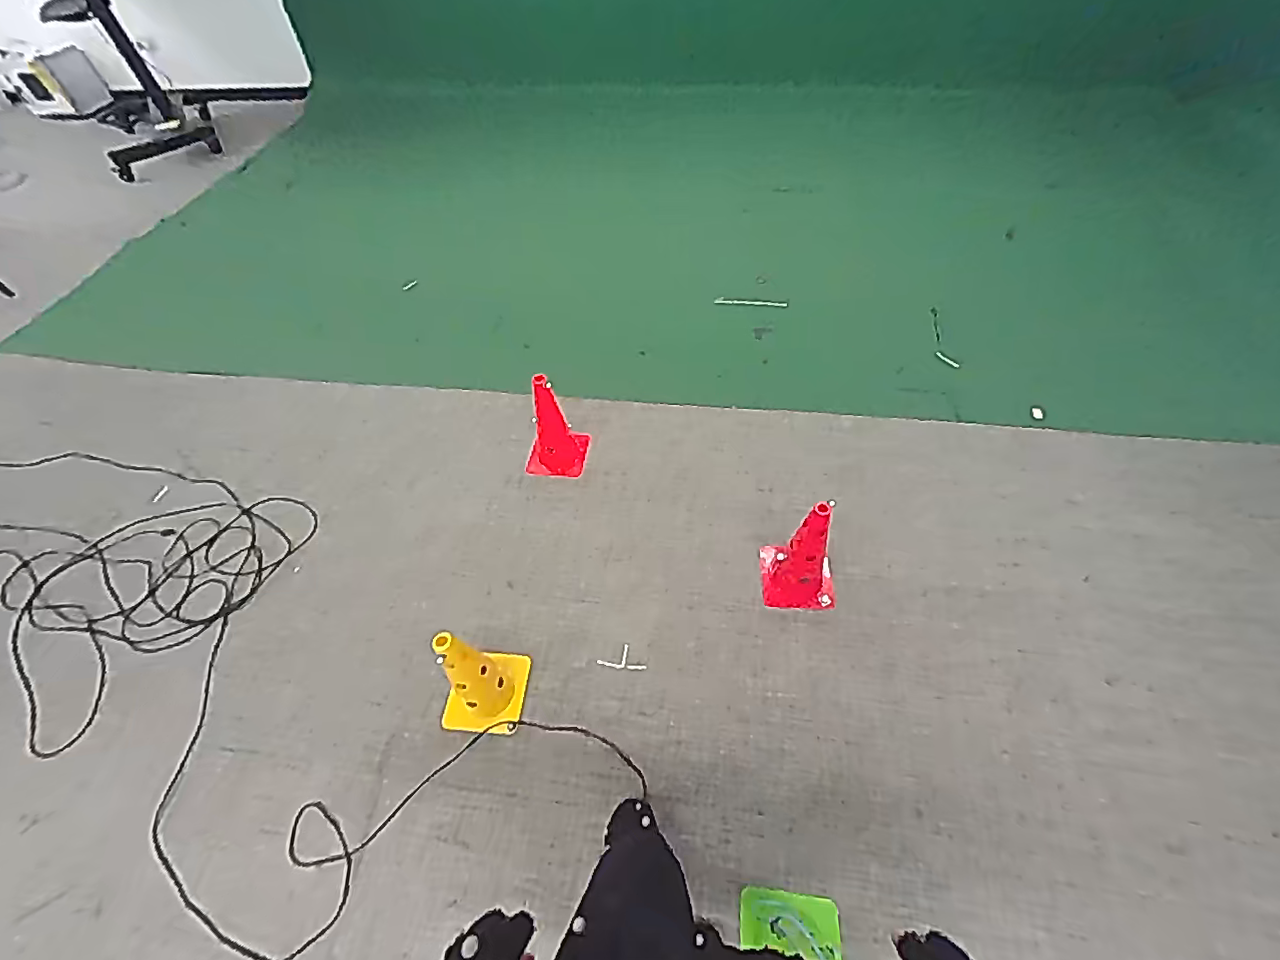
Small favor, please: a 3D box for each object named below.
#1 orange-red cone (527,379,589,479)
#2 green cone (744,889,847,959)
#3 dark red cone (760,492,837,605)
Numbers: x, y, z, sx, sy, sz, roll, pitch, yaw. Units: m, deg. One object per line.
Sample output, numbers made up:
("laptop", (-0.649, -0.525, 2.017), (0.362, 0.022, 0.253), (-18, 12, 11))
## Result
("orange-red cone", (-0.300, -0.186, 1.777), (0.198, 0.360, 0.199), (4, 54, 8))
("green cone", (0.297, 0.845, 0.944), (0.202, 0.368, 0.200), (2, 52, 7))
("dark red cone", (0.443, 0.164, 1.426), (0.202, 0.394, 0.201), (0, 51, 4))
